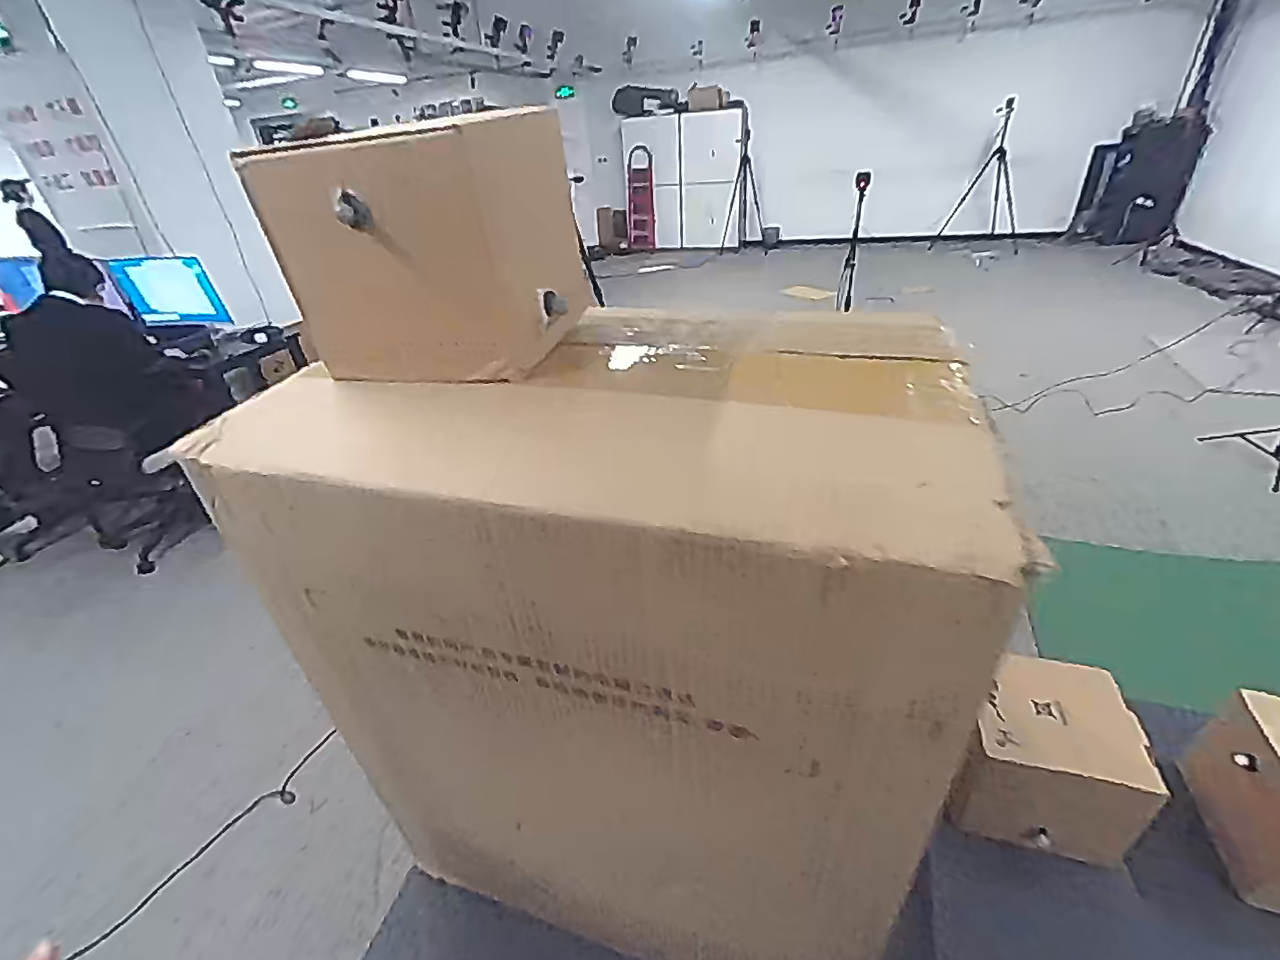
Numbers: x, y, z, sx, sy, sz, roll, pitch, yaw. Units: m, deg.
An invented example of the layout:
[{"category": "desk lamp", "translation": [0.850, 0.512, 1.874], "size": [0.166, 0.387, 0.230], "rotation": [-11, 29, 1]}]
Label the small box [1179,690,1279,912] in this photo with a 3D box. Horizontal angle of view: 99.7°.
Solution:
[{"category": "small box", "translation": [0.791, 0.386, 0.627], "size": [0.168, 0.176, 0.179], "rotation": [7, 34, 19]}]

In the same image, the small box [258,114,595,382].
[{"category": "small box", "translation": [-0.150, -0.192, 0.449], "size": [0.179, 0.176, 0.168], "rotation": [5, 38, 13]}]
